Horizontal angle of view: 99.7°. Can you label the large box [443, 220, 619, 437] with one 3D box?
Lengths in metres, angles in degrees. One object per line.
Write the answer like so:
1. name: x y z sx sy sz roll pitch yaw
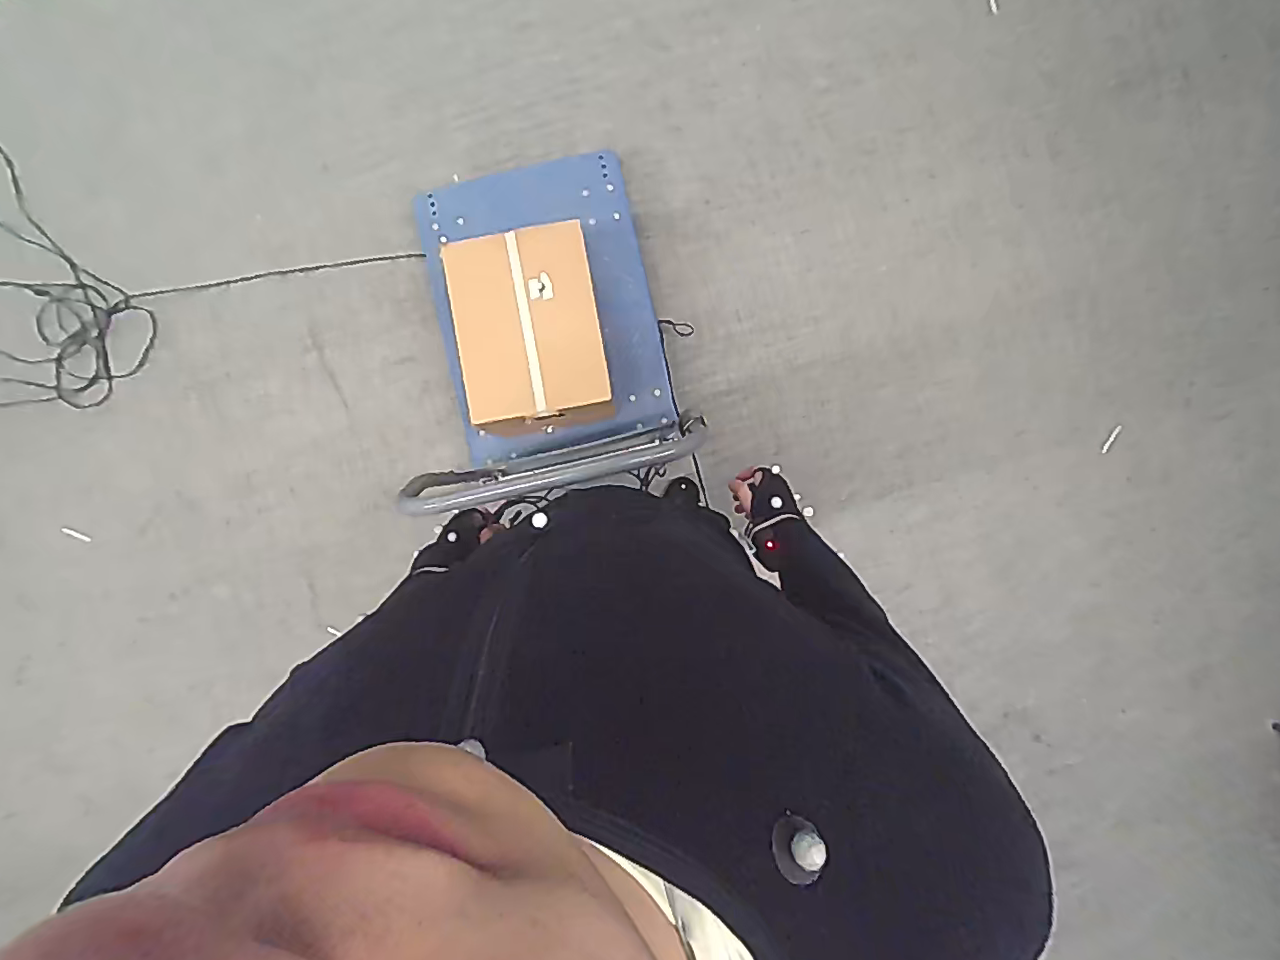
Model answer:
1. large box: -0.240 -0.338 1.312 0.320 0.320 0.408 -10 89 -1
